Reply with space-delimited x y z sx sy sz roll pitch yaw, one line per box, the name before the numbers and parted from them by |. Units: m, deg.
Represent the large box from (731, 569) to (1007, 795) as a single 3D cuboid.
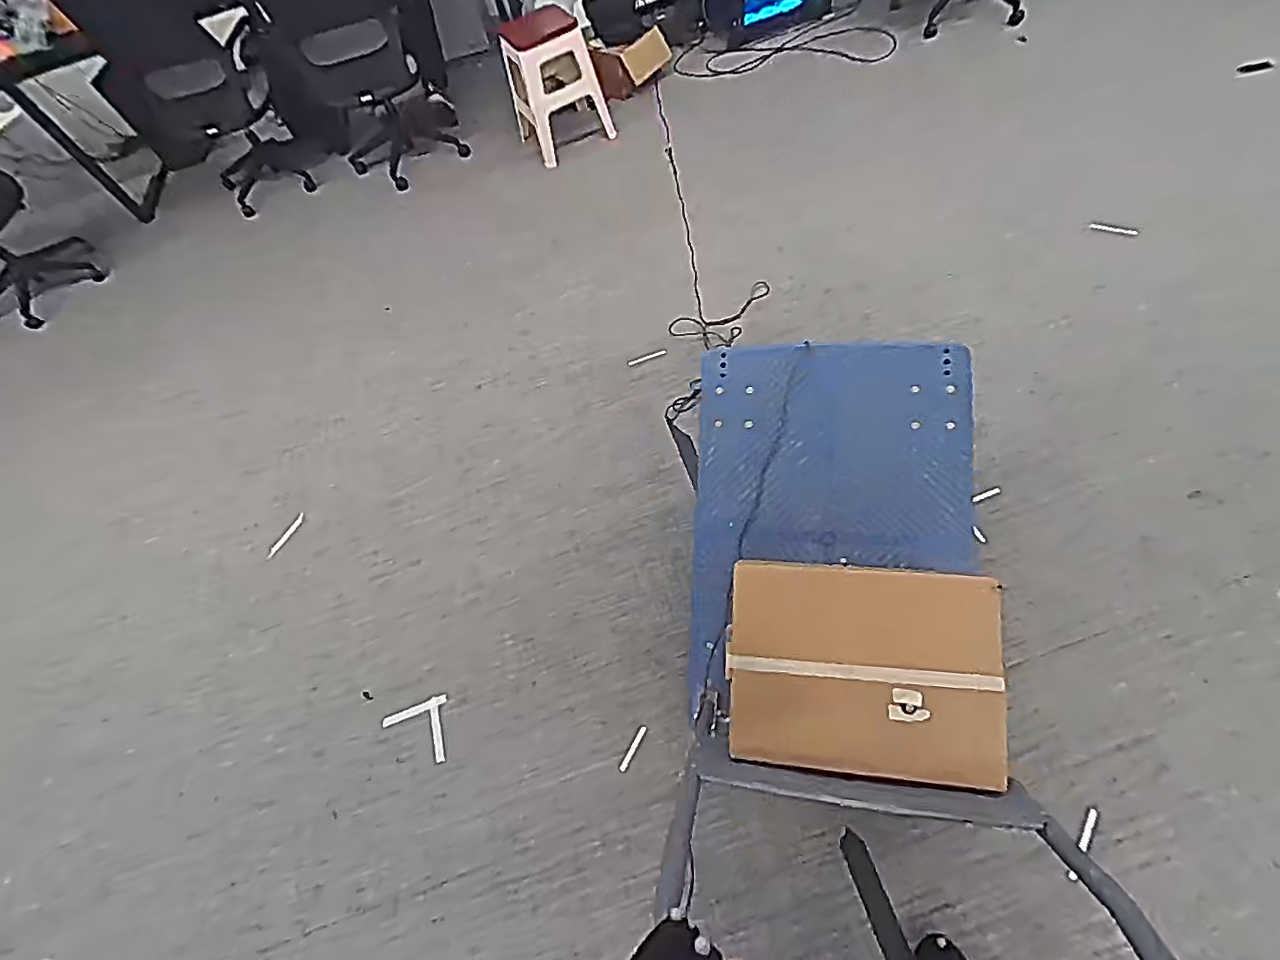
large box | 0.372 0.325 0.986 0.408 0.320 0.320 1 84 11
